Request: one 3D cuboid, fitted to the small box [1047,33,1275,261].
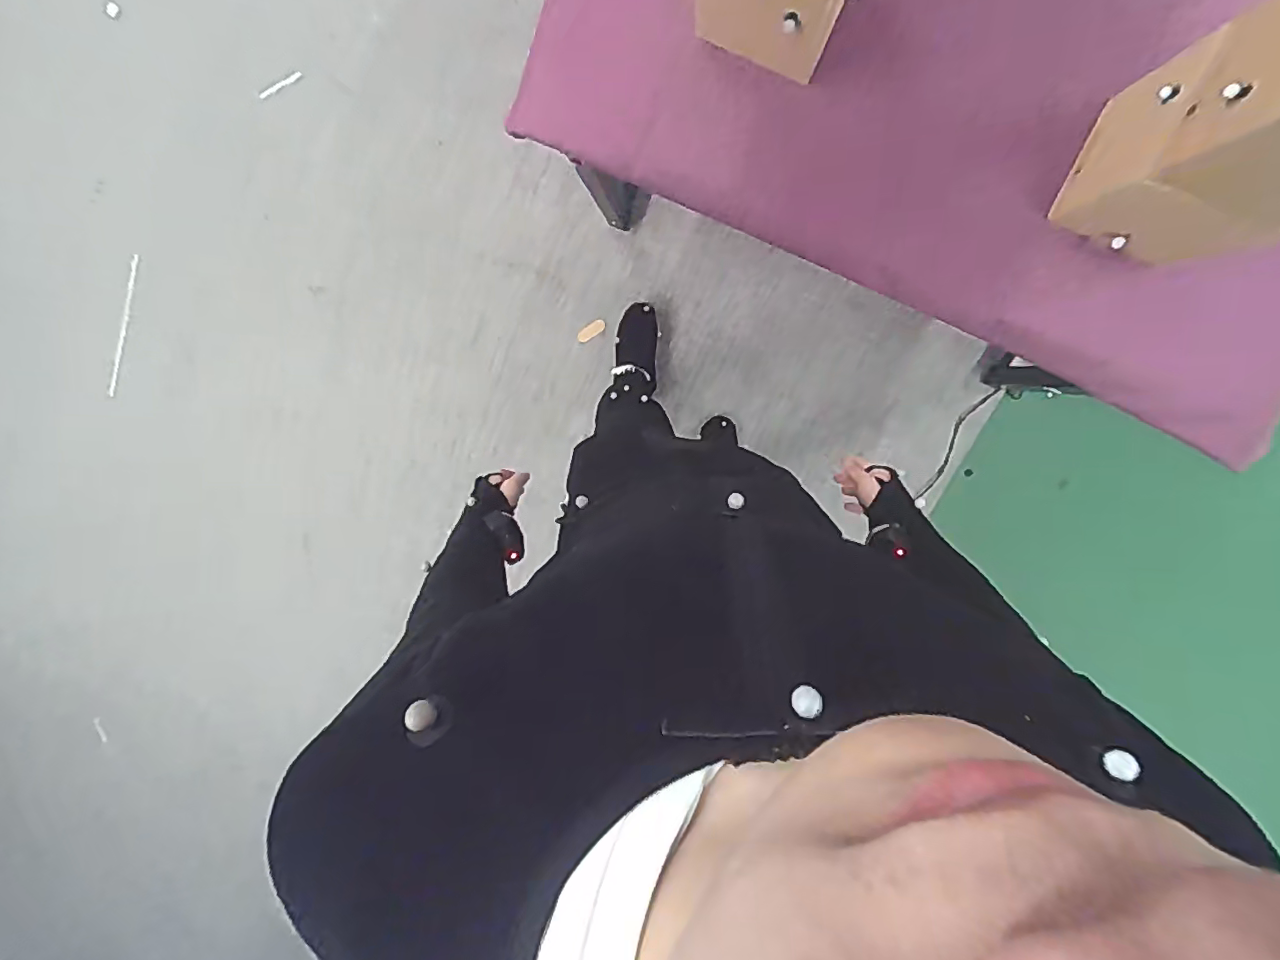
[{"bbox_3d":[0.676,-0.391,0.675,0.179,0.176,0.168,23,103,0],"label":"small box"}]

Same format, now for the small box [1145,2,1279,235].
[{"bbox_3d":[0.661,-0.358,0.515,0.179,0.176,0.168,25,104,0],"label":"small box"}]

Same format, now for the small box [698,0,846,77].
[{"bbox_3d":[0.184,-0.647,0.669,0.179,0.176,0.168,25,103,0],"label":"small box"}]
